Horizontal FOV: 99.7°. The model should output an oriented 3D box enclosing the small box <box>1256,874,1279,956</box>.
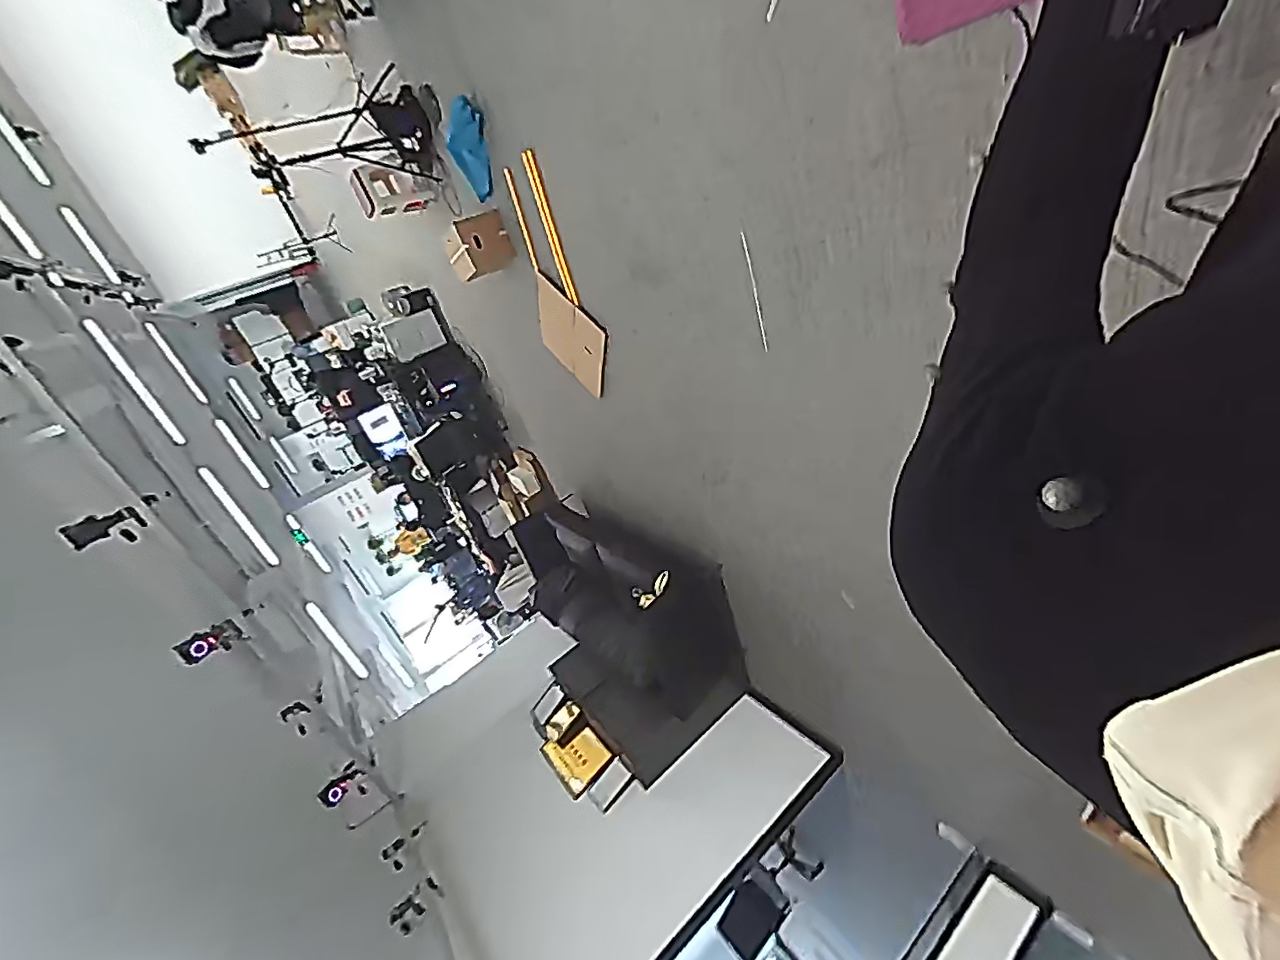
[{"bbox_3d":[1.551,1.006,1.208,0.179,0.176,0.168,25,140,48],"label":"small box"}]
